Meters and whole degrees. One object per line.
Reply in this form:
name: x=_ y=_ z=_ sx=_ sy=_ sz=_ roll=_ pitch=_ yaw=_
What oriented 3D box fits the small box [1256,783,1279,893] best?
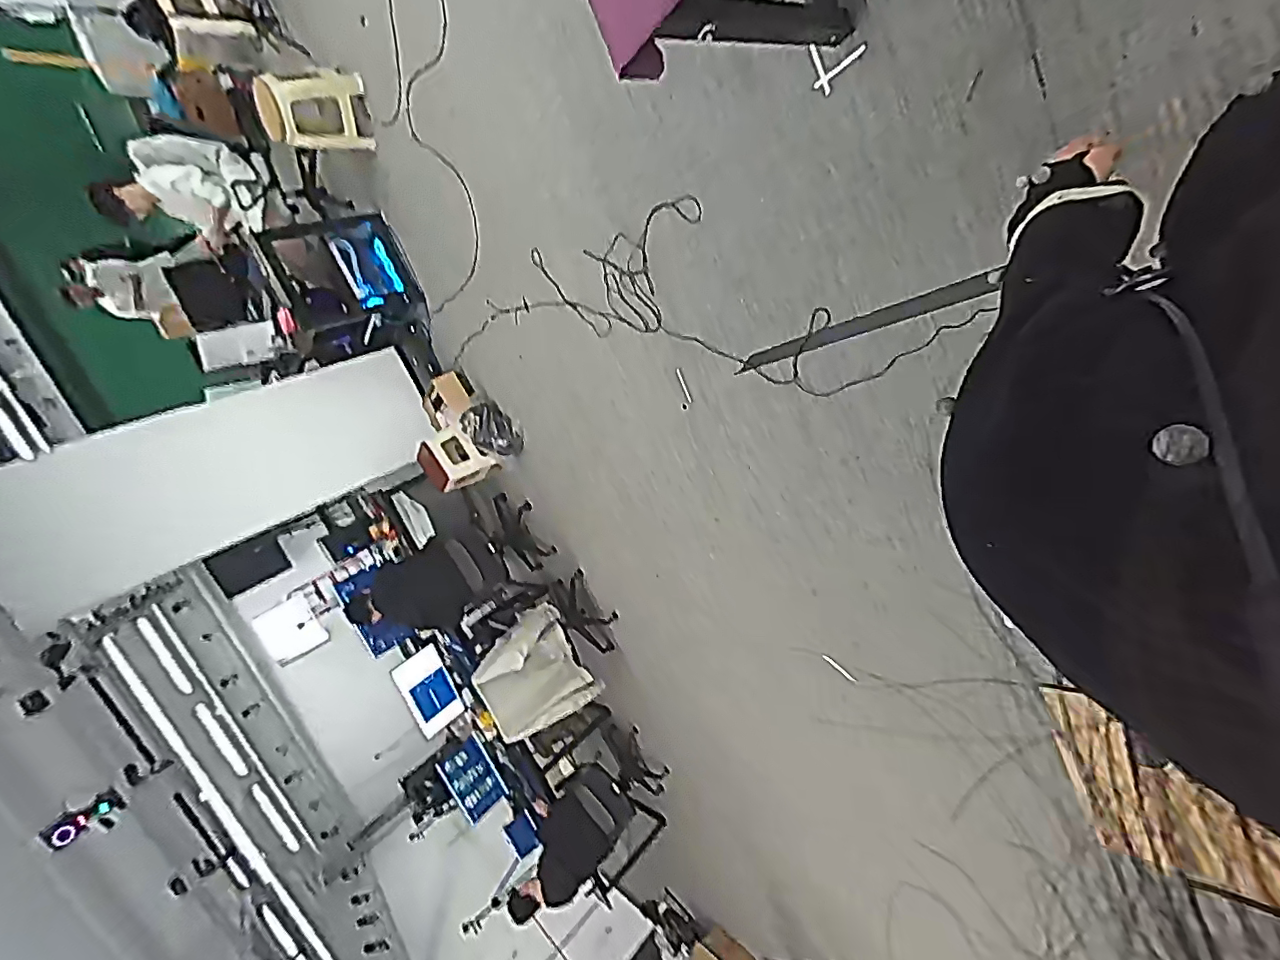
small box: x=1.541 y=0.837 z=1.229 sx=0.168 sy=0.176 sz=0.179 roll=-9 pitch=109 yaw=55
